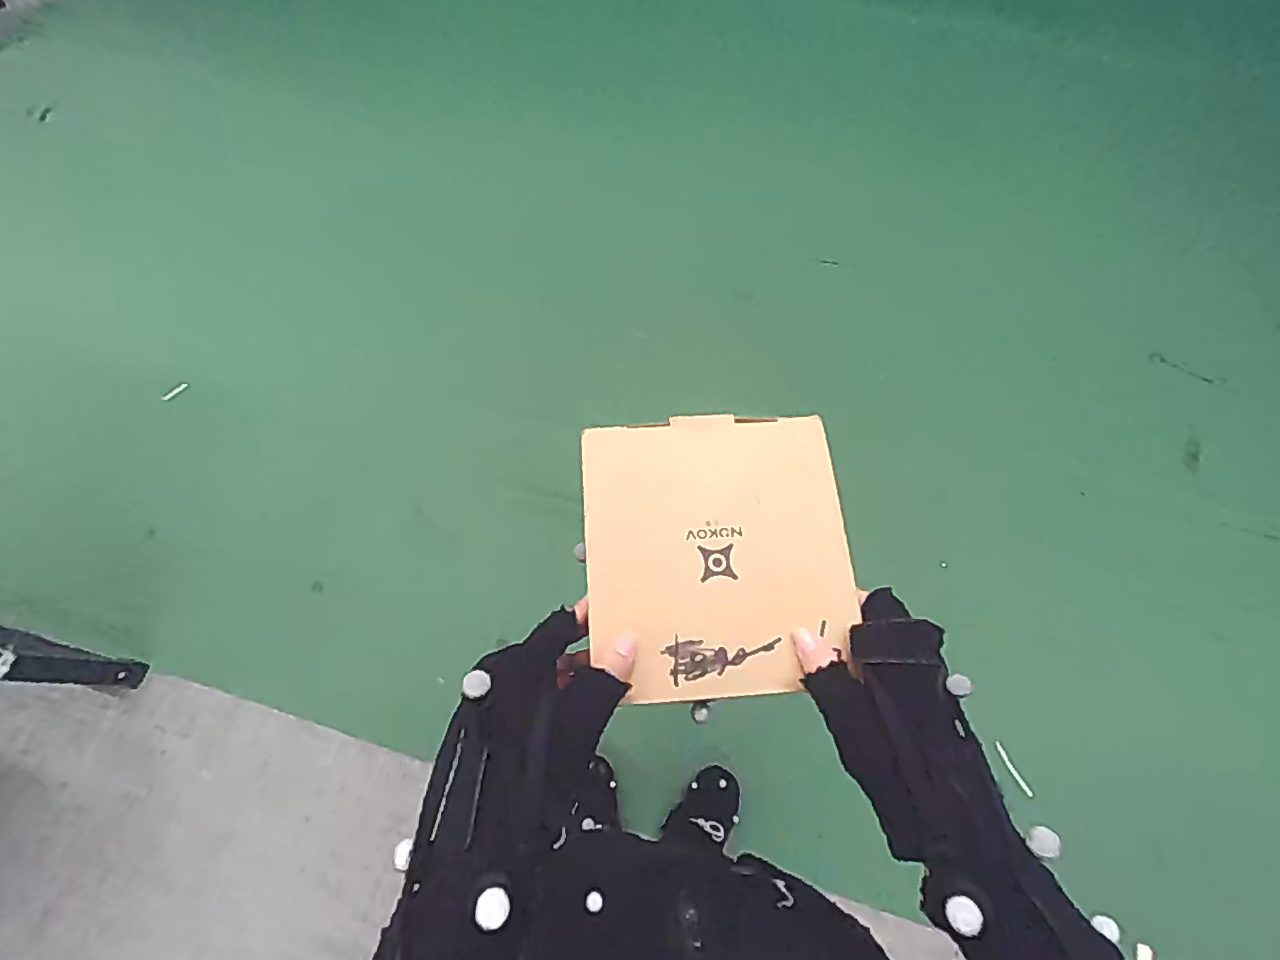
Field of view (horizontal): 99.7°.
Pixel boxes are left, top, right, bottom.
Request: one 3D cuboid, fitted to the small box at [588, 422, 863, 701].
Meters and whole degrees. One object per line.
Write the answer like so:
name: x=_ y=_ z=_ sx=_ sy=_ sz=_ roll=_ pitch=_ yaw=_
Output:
small box: x=0.046 y=0.070 z=0.421 sx=0.168 sy=0.176 sz=0.179 roll=-3 pitch=72 yaw=-2
